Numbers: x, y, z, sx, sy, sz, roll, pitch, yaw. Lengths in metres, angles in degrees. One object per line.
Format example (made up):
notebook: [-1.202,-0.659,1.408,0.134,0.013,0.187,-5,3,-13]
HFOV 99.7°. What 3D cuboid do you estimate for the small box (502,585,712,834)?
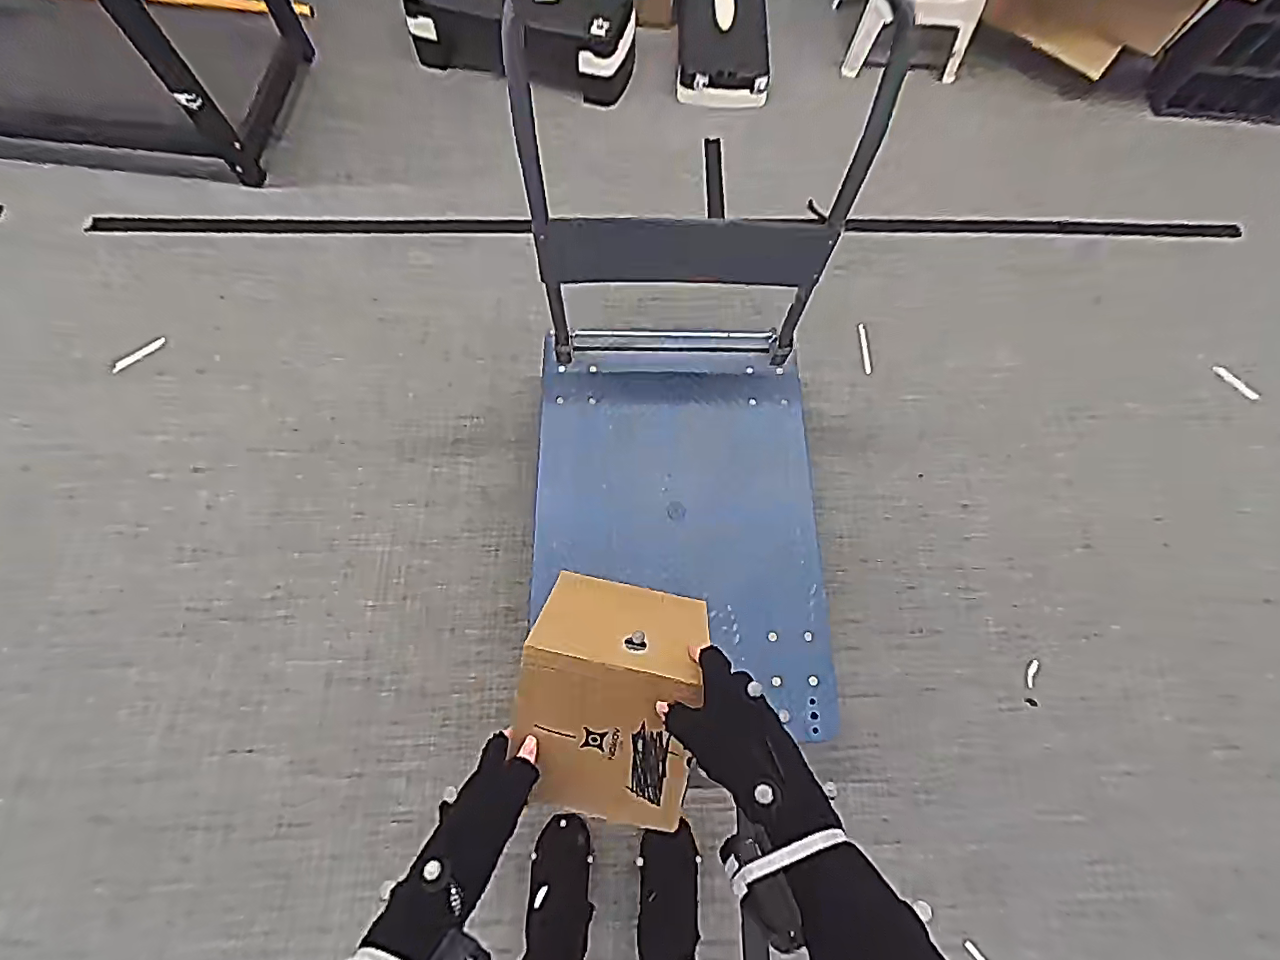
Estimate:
small box: [-0.029,0.232,0.586,0.179,0.176,0.168,12,103,1]
